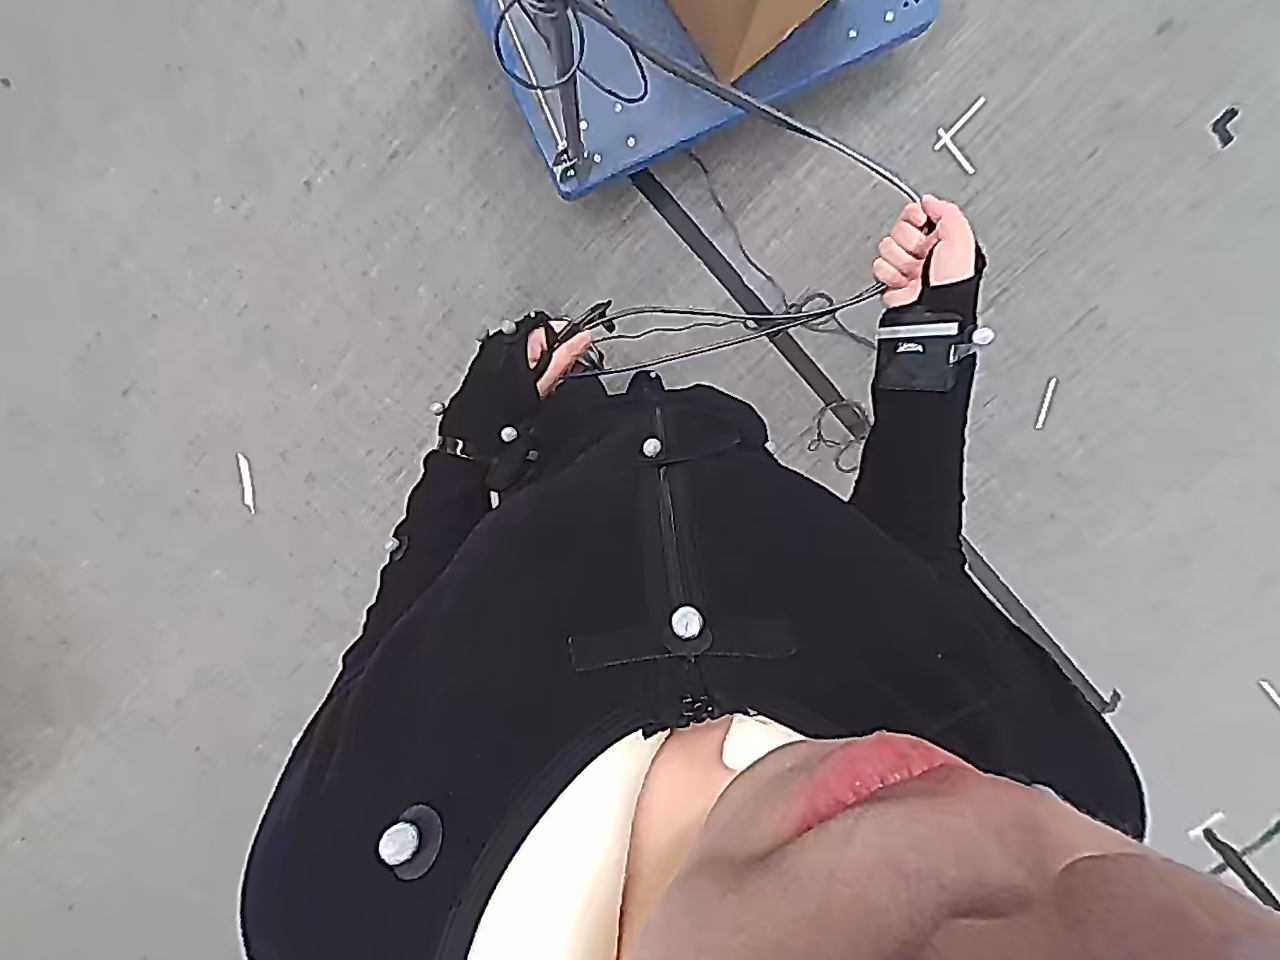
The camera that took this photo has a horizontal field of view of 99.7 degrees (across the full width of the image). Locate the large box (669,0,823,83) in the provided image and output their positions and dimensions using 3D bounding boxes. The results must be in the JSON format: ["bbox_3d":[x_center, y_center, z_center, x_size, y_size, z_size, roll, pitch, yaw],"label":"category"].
[{"bbox_3d":[0.175,-1.022,0.920,0.320,0.320,0.408,-38,102,8],"label":"large box"}]
